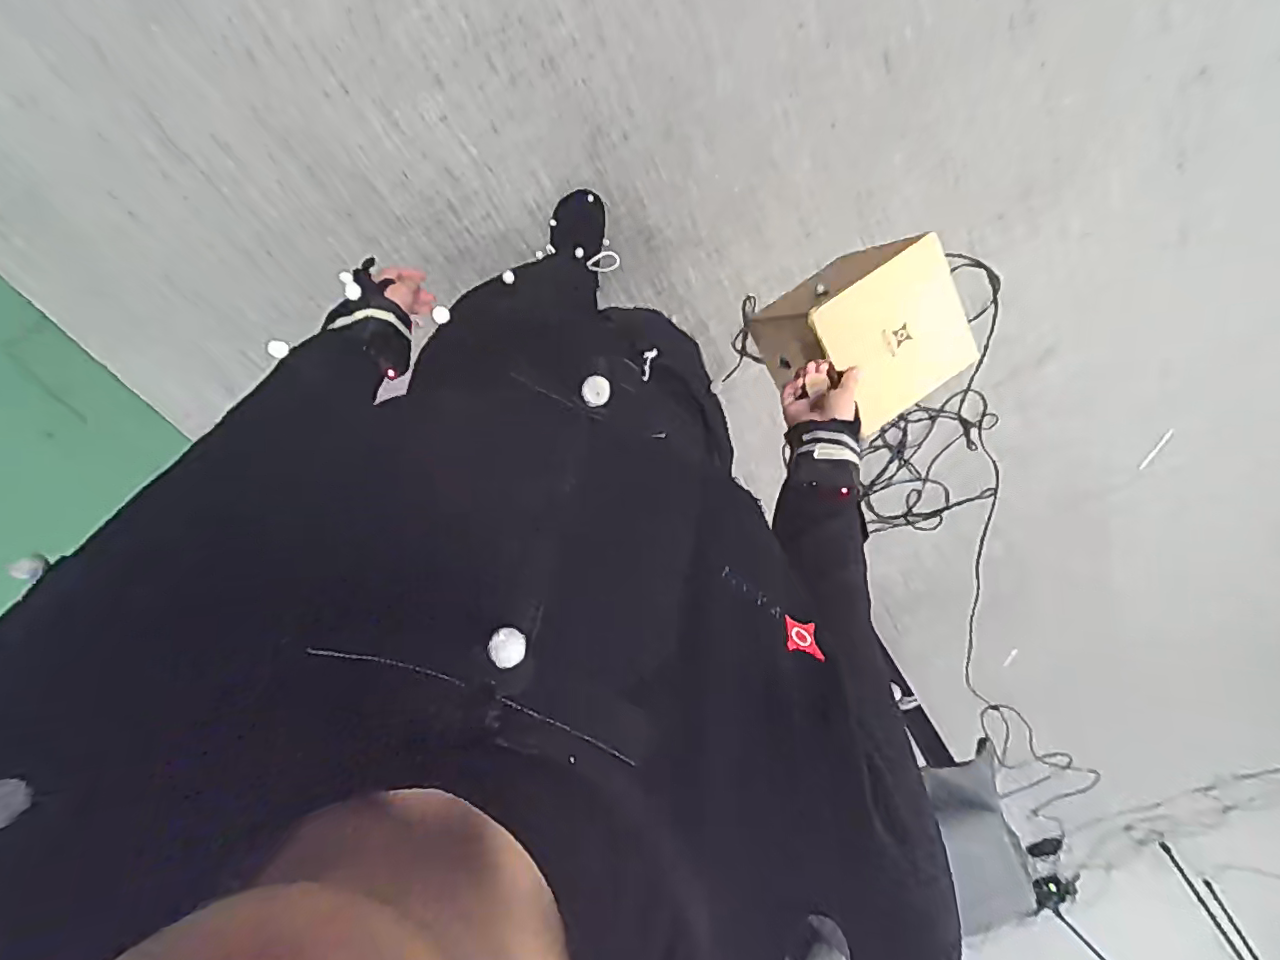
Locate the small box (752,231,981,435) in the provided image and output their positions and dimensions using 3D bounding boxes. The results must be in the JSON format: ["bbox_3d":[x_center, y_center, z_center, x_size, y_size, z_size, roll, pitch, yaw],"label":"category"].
[{"bbox_3d":[0.274,-0.183,0.679,0.179,0.176,0.168,-33,111,-4],"label":"small box"}]
